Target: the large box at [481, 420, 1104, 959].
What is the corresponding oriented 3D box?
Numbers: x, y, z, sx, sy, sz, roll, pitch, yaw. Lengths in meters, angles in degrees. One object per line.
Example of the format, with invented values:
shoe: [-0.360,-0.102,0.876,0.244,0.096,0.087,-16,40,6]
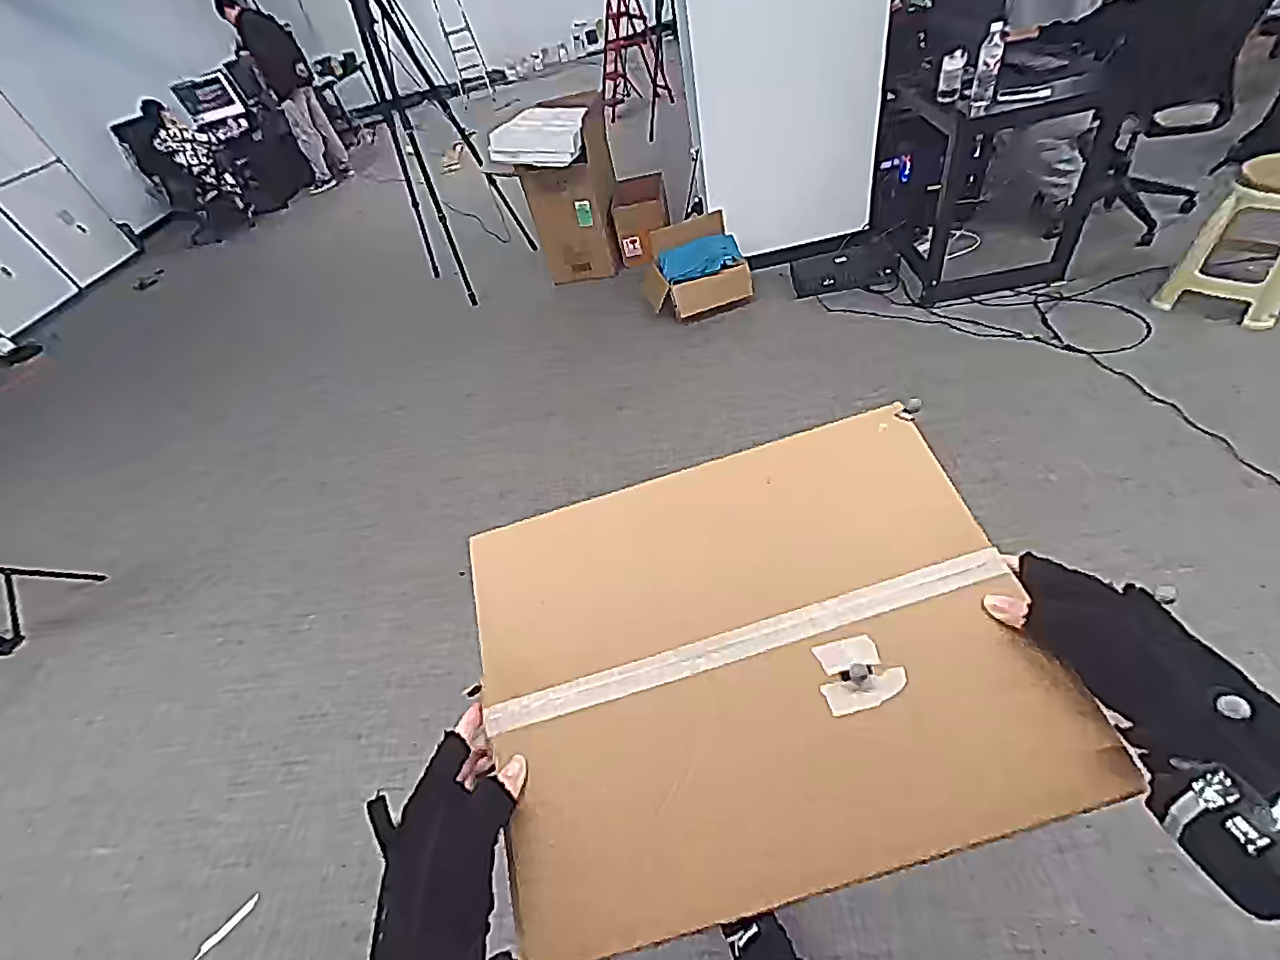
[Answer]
large box: [0.102,0.202,0.556,0.408,0.320,0.320,-18,61,0]
